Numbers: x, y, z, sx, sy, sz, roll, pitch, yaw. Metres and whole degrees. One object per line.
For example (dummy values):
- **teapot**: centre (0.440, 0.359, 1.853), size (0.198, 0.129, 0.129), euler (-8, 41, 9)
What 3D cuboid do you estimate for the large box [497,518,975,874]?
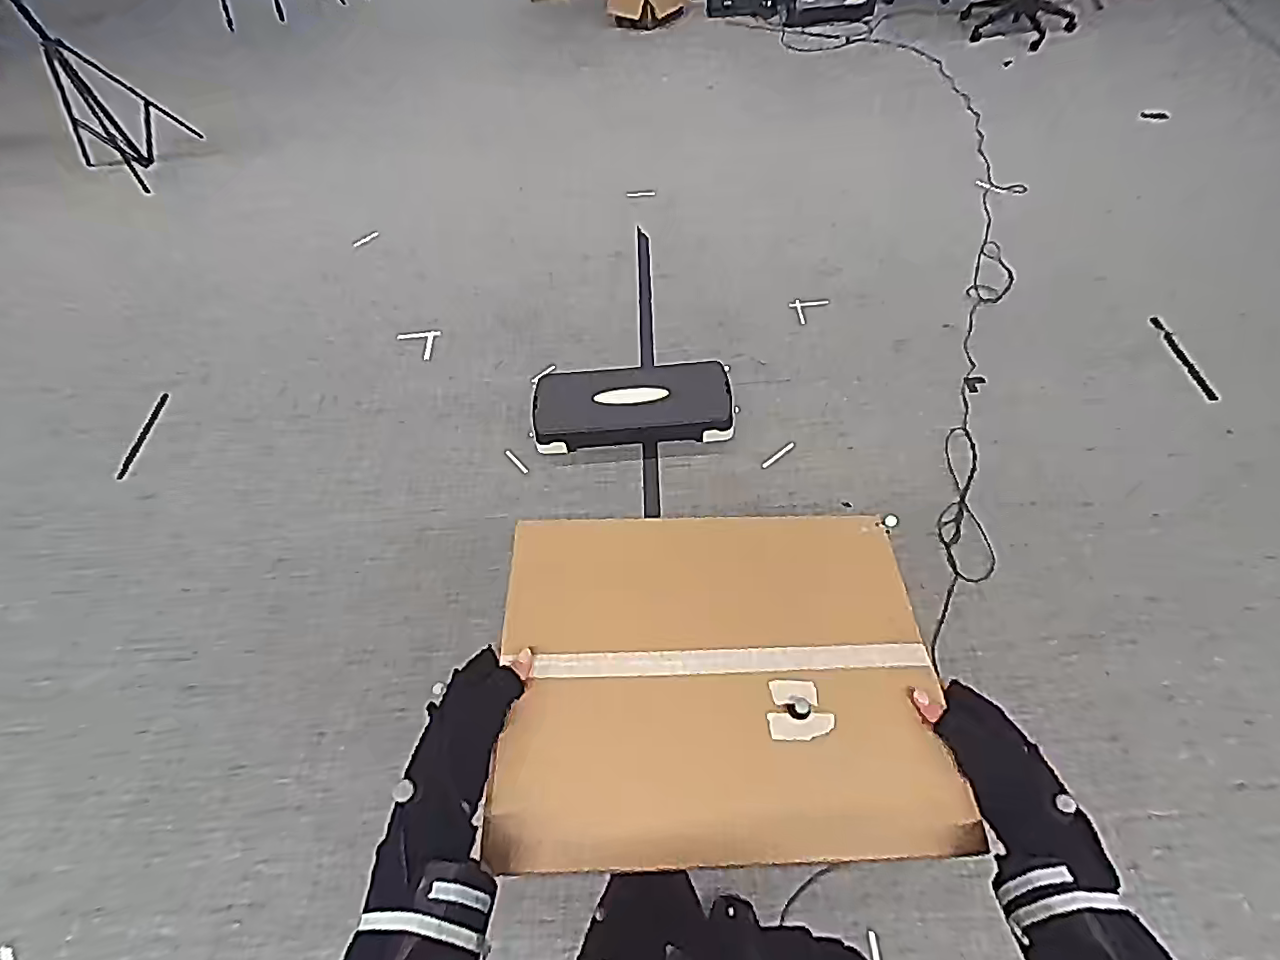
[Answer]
- **large box**: centre (0.068, 0.258, 0.641), size (0.408, 0.320, 0.320), euler (-1, 57, -3)
